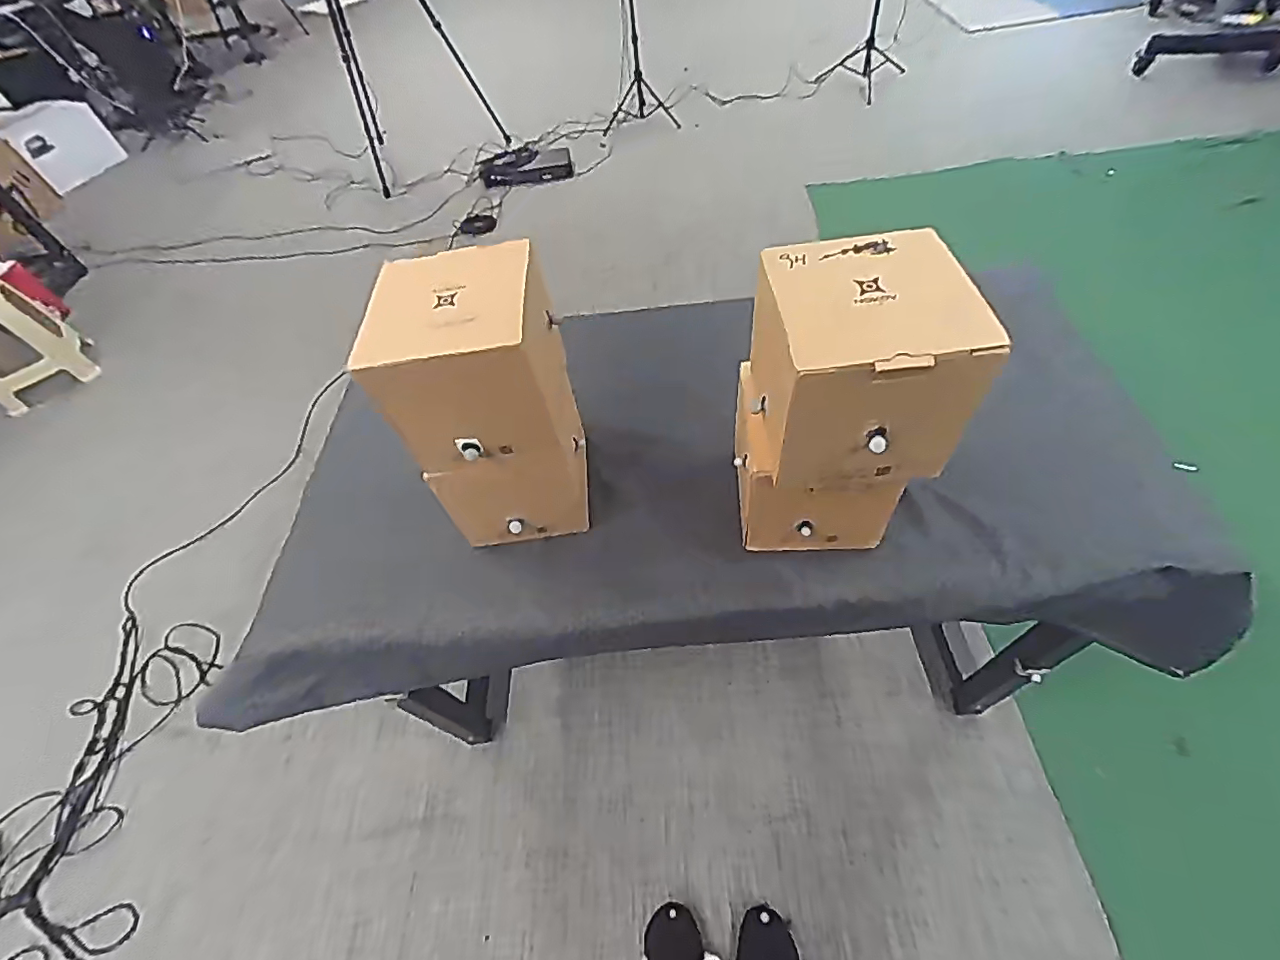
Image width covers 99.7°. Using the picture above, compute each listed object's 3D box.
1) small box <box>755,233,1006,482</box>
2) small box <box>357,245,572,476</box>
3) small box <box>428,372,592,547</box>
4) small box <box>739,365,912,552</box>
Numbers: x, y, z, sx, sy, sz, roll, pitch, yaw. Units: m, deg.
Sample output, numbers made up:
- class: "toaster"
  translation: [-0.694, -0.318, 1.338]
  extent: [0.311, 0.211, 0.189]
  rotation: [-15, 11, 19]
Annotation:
- class: "small box"
  translation: [0.210, -0.110, 0.535]
  extent: [0.168, 0.176, 0.179]
  rotation: [-6, 54, 4]
- class: "small box"
  translation: [-0.175, -0.128, 0.602]
  extent: [0.168, 0.176, 0.179]
  rotation: [-8, 54, 3]
- class: "small box"
  translation: [-0.162, -0.031, 0.732]
  extent: [0.168, 0.176, 0.179]
  rotation: [-8, 53, 2]
- class: "small box"
  translation: [0.215, -0.027, 0.677]
  extent: [0.168, 0.176, 0.179]
  rotation: [-2, 53, 6]
